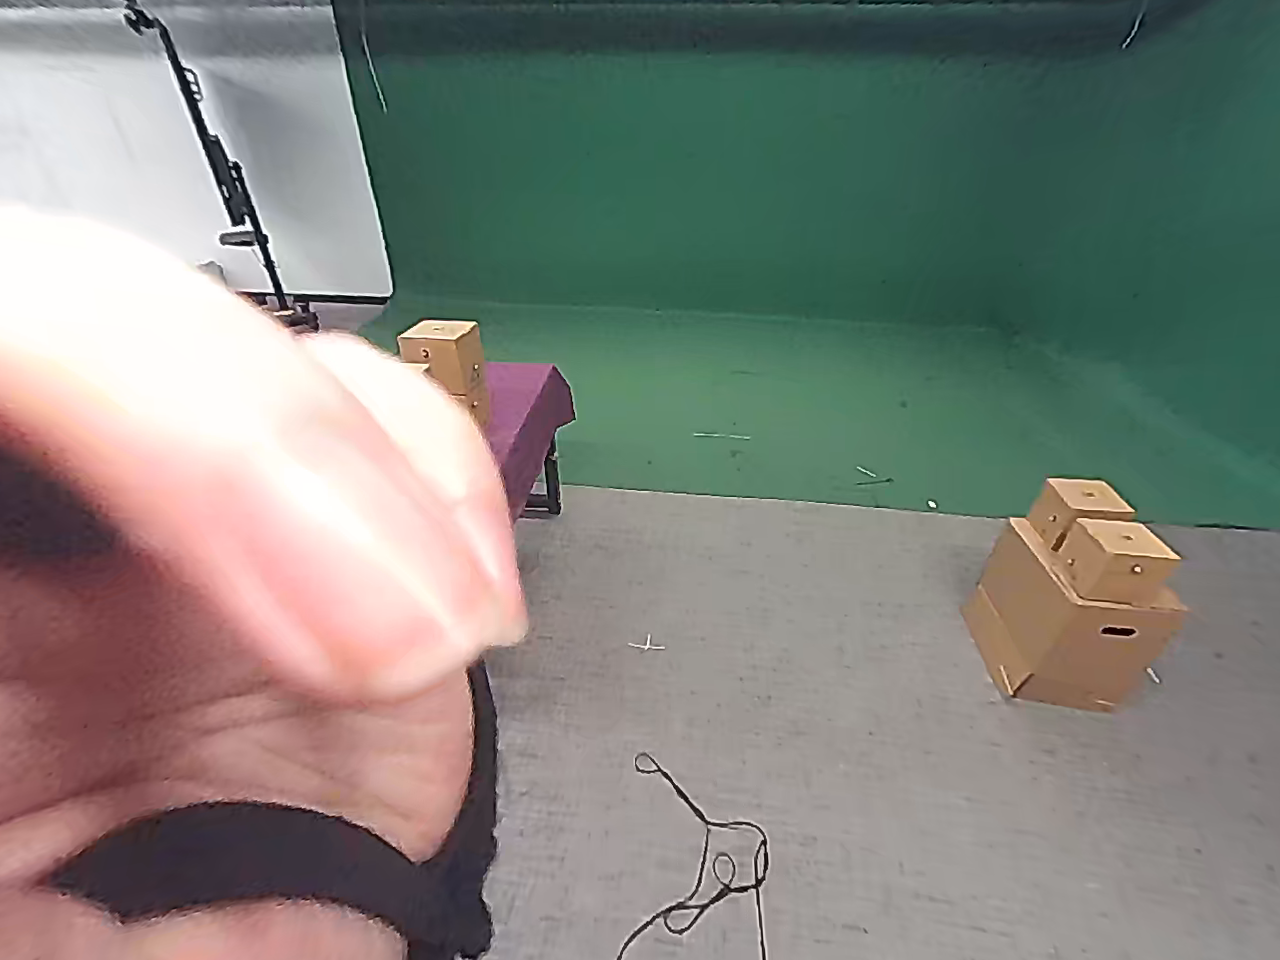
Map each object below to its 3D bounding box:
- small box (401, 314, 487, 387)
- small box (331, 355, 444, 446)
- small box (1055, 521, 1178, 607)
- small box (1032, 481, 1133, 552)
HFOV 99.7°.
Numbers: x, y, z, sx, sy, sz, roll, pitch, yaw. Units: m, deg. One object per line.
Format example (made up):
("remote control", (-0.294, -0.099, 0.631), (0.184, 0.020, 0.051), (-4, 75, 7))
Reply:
("small box", (-0.577, -0.387, 1.616), (0.179, 0.176, 0.168), (5, 34, 6))
("small box", (-0.605, -0.195, 1.324), (0.179, 0.176, 0.168), (4, 33, 6))
("small box", (1.338, 0.239, 1.535), (0.179, 0.176, 0.168), (5, 32, 6))
("small box", (1.388, 0.122, 1.718), (0.179, 0.176, 0.168), (5, 36, 6))
